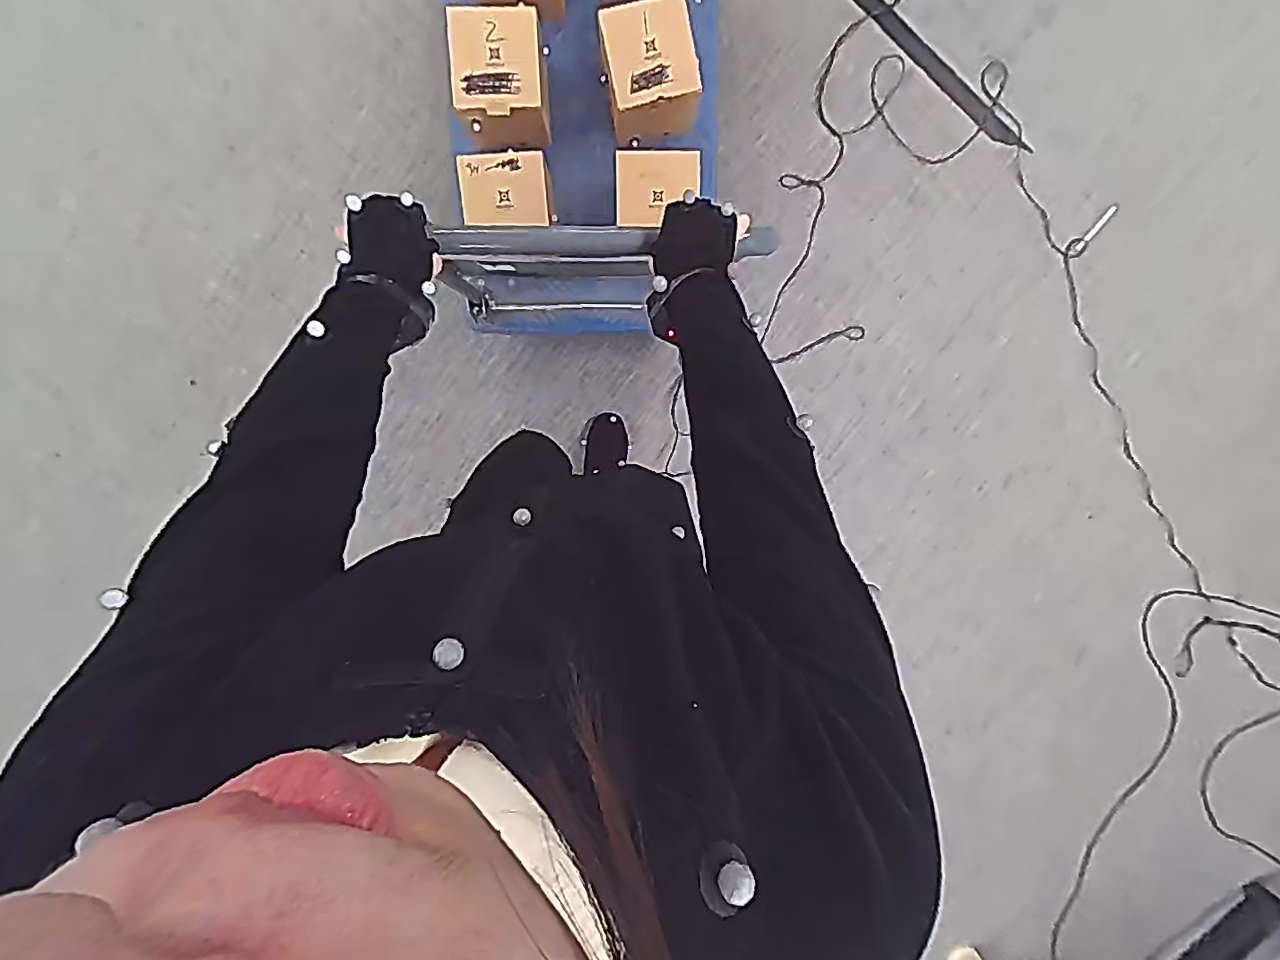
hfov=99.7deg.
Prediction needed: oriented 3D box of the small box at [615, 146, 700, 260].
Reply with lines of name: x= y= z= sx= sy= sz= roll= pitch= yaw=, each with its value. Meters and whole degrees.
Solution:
small box: x=0.032 y=-0.570 z=1.135 sx=0.168 sy=0.176 sz=0.179 roll=-1 pitch=98 yaw=-3

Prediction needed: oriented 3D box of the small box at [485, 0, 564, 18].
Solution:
small box: x=-0.237 y=-1.051 z=1.044 sx=0.168 sy=0.176 sz=0.179 roll=0 pitch=100 yaw=-2

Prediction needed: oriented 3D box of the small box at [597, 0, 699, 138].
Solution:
small box: x=0.015 y=-0.825 z=1.092 sx=0.168 sy=0.176 sz=0.179 roll=-13 pitch=99 yaw=0

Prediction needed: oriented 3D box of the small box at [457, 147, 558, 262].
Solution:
small box: x=-0.265 y=-0.559 z=1.123 sx=0.168 sy=0.176 sz=0.179 roll=-5 pitch=100 yaw=-2
